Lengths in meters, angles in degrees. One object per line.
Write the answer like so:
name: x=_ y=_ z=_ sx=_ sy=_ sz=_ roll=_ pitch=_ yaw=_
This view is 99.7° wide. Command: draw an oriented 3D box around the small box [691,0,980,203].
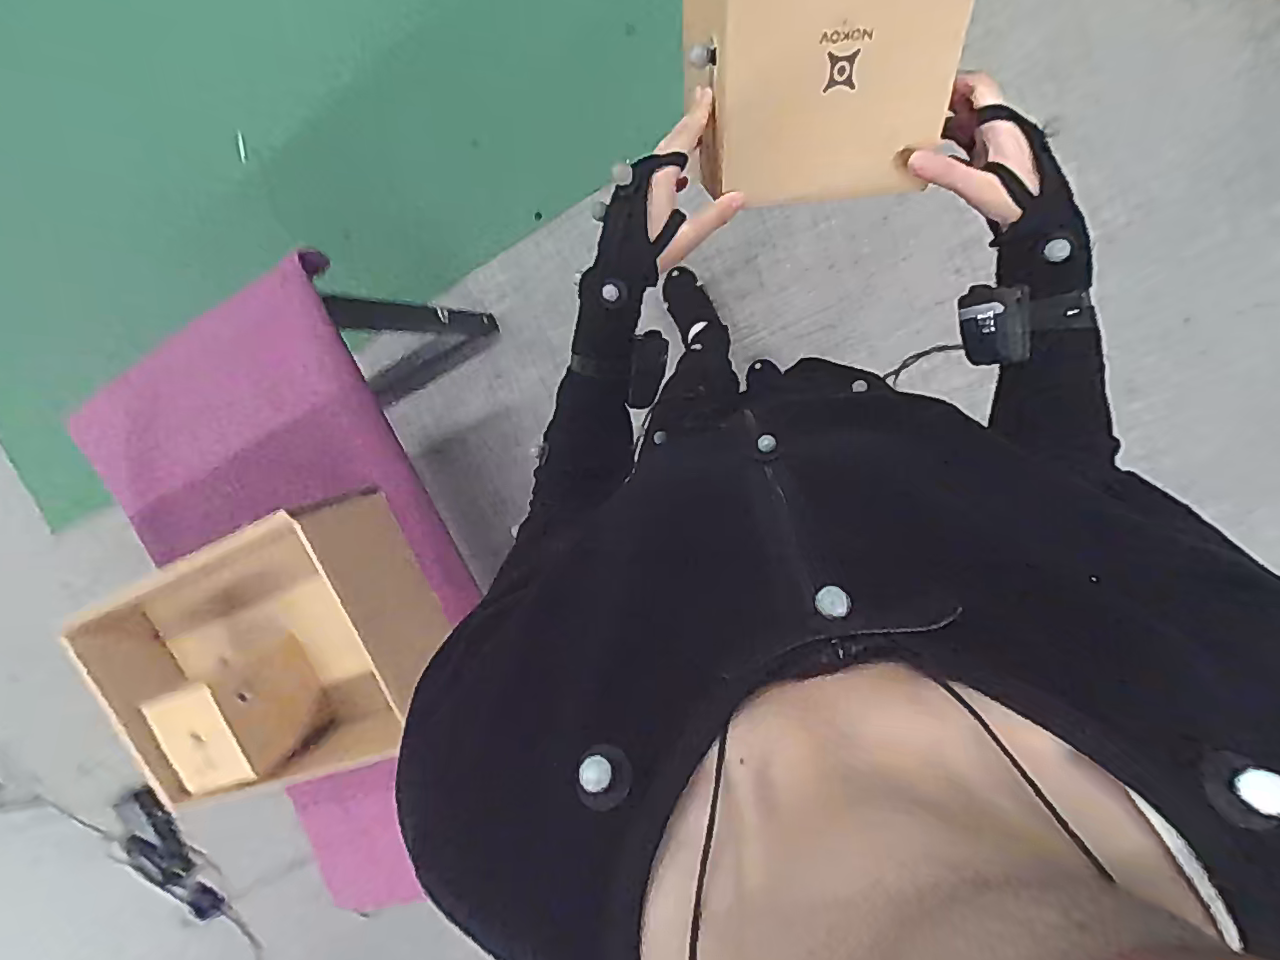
small box: x=0.134 y=-0.337 z=0.423 sx=0.168 sy=0.176 sz=0.179 roll=-6 pitch=130 yaw=-1
